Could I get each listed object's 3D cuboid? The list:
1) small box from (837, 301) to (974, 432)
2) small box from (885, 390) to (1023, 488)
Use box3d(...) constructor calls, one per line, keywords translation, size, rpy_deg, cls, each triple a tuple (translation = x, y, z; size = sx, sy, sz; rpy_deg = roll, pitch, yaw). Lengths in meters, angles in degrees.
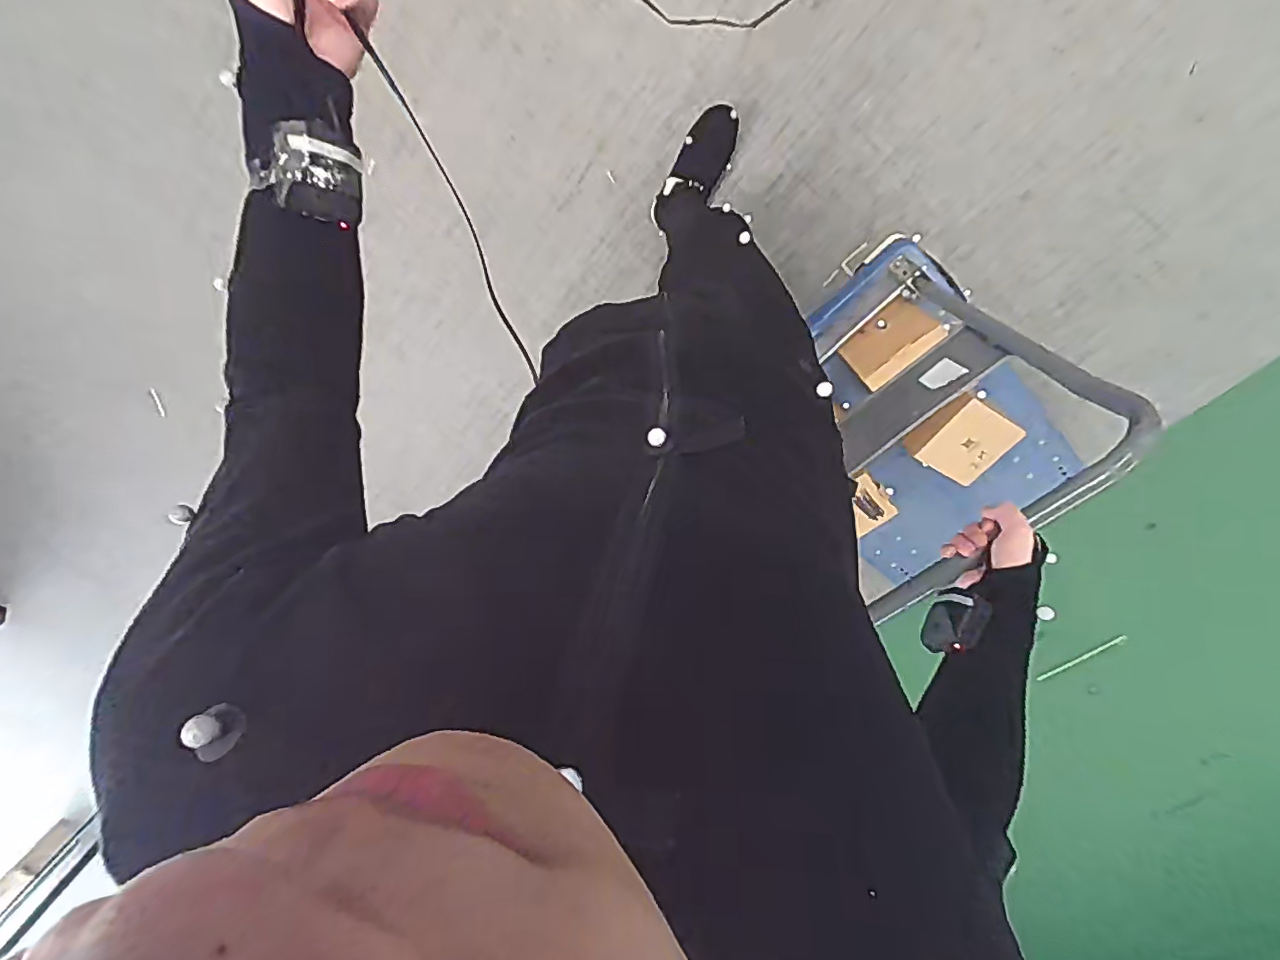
box3d(translation=(0.545, -0.240, 1.127), size=(0.168, 0.176, 0.179), rpy_deg=(-38, 118, 23), cls="small box")
box3d(translation=(0.696, -0.118, 1.221), size=(0.179, 0.176, 0.168), rpy_deg=(25, 121, -19), cls="small box")
